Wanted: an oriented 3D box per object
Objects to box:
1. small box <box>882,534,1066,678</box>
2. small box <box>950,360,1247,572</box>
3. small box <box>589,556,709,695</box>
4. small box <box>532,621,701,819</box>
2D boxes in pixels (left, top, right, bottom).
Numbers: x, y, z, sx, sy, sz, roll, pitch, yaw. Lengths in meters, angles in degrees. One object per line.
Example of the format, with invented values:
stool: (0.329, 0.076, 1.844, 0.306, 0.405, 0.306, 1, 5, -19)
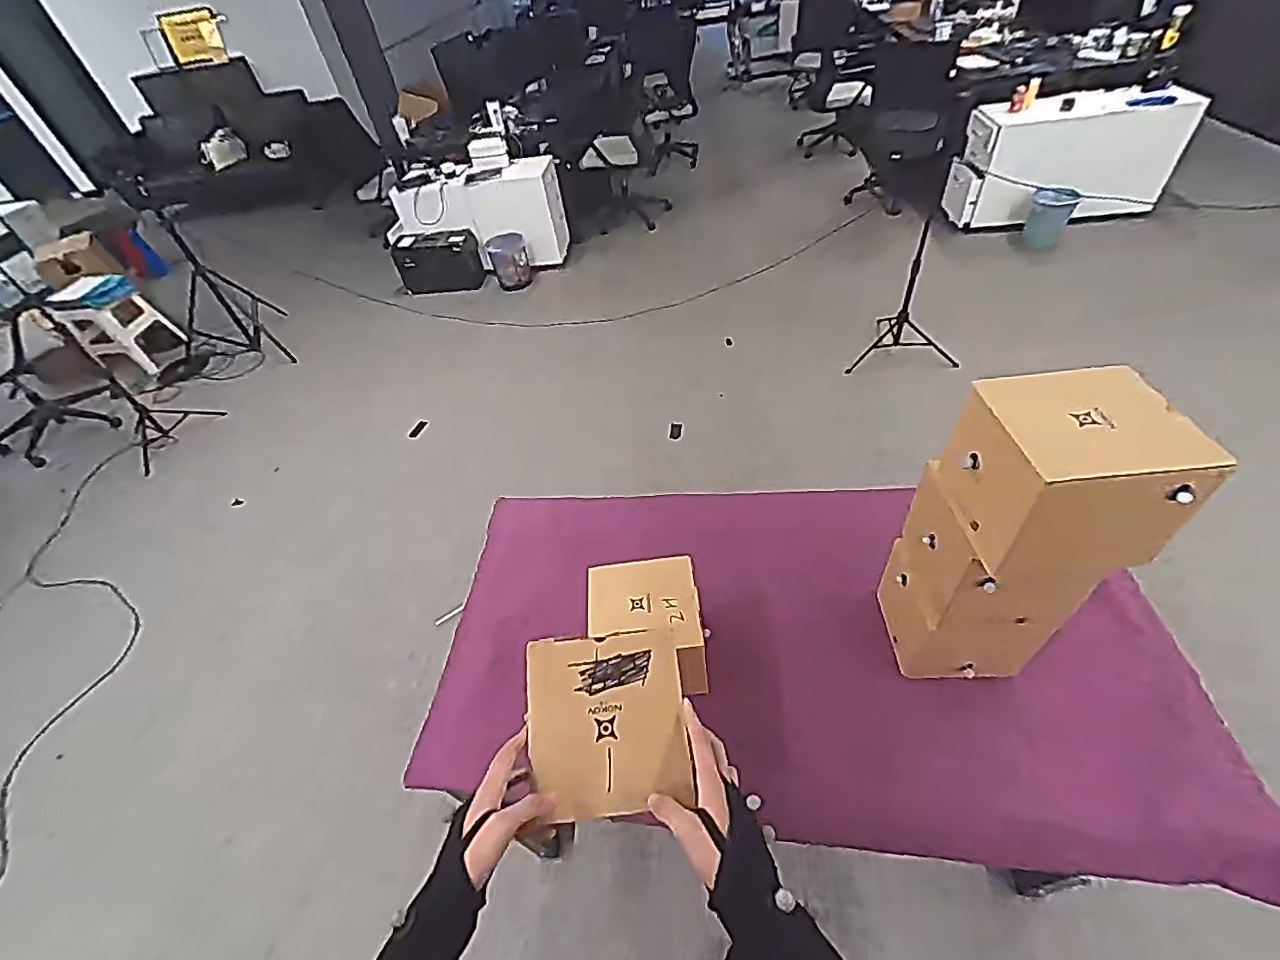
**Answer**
small box: (0.509, 0.202, 0.858, 0.179, 0.176, 0.168, -3, 46, 6)
small box: (0.478, -0.011, 0.609, 0.179, 0.176, 0.168, -6, 46, 4)
small box: (0.016, 0.249, 0.895, 0.179, 0.176, 0.168, -7, 45, 3)
small box: (-0.028, 0.274, 0.626, 0.168, 0.176, 0.179, -6, 65, -1)
